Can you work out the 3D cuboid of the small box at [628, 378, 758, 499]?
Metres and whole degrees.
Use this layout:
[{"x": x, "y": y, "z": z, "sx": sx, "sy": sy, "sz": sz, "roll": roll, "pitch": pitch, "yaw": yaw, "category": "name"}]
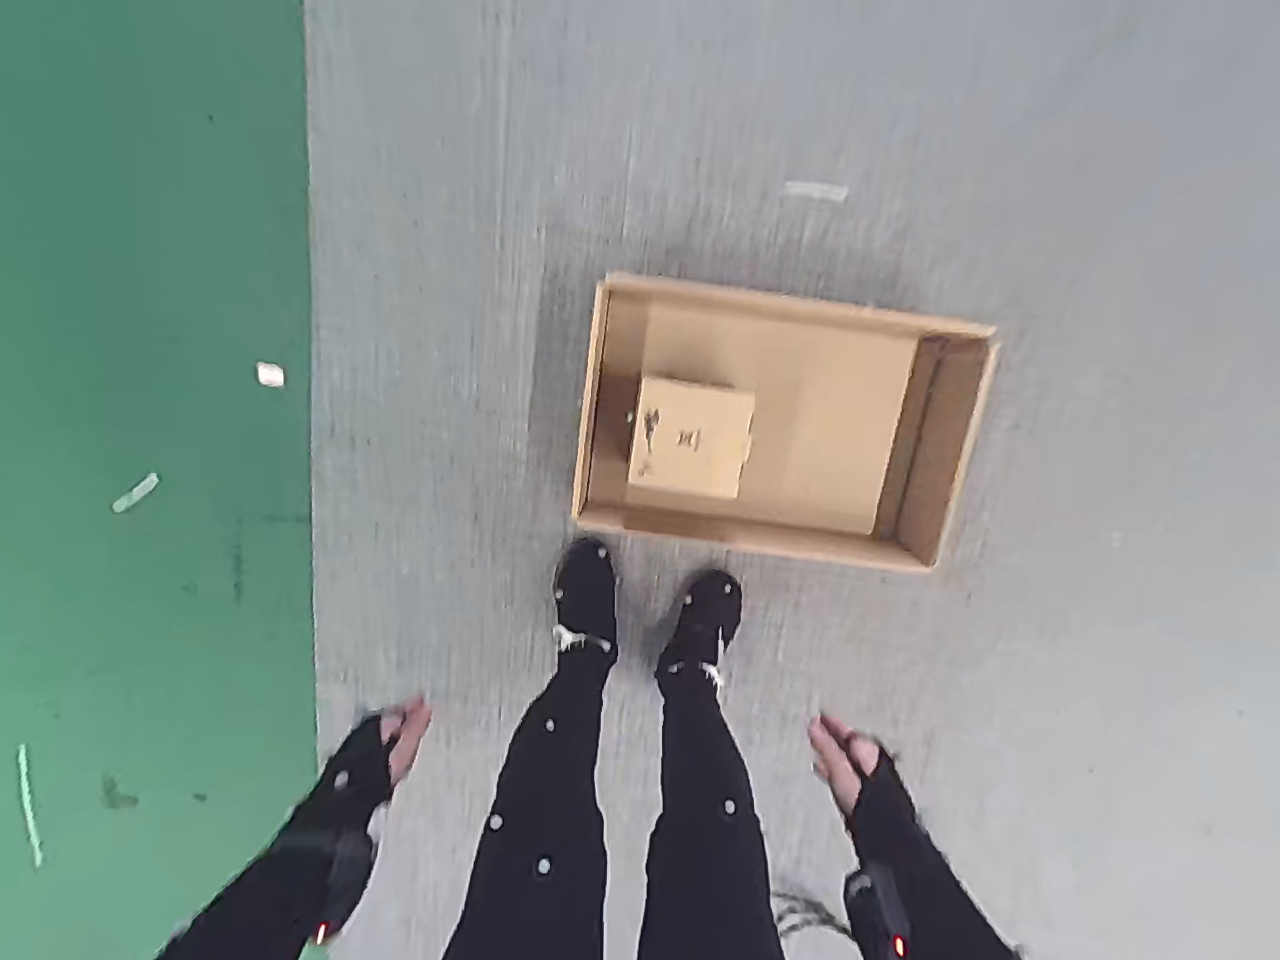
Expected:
[{"x": 0.078, "y": -0.076, "z": 0.897, "sx": 0.179, "sy": 0.176, "sz": 0.168, "roll": 8, "pitch": 101, "yaw": -3, "category": "small box"}]
